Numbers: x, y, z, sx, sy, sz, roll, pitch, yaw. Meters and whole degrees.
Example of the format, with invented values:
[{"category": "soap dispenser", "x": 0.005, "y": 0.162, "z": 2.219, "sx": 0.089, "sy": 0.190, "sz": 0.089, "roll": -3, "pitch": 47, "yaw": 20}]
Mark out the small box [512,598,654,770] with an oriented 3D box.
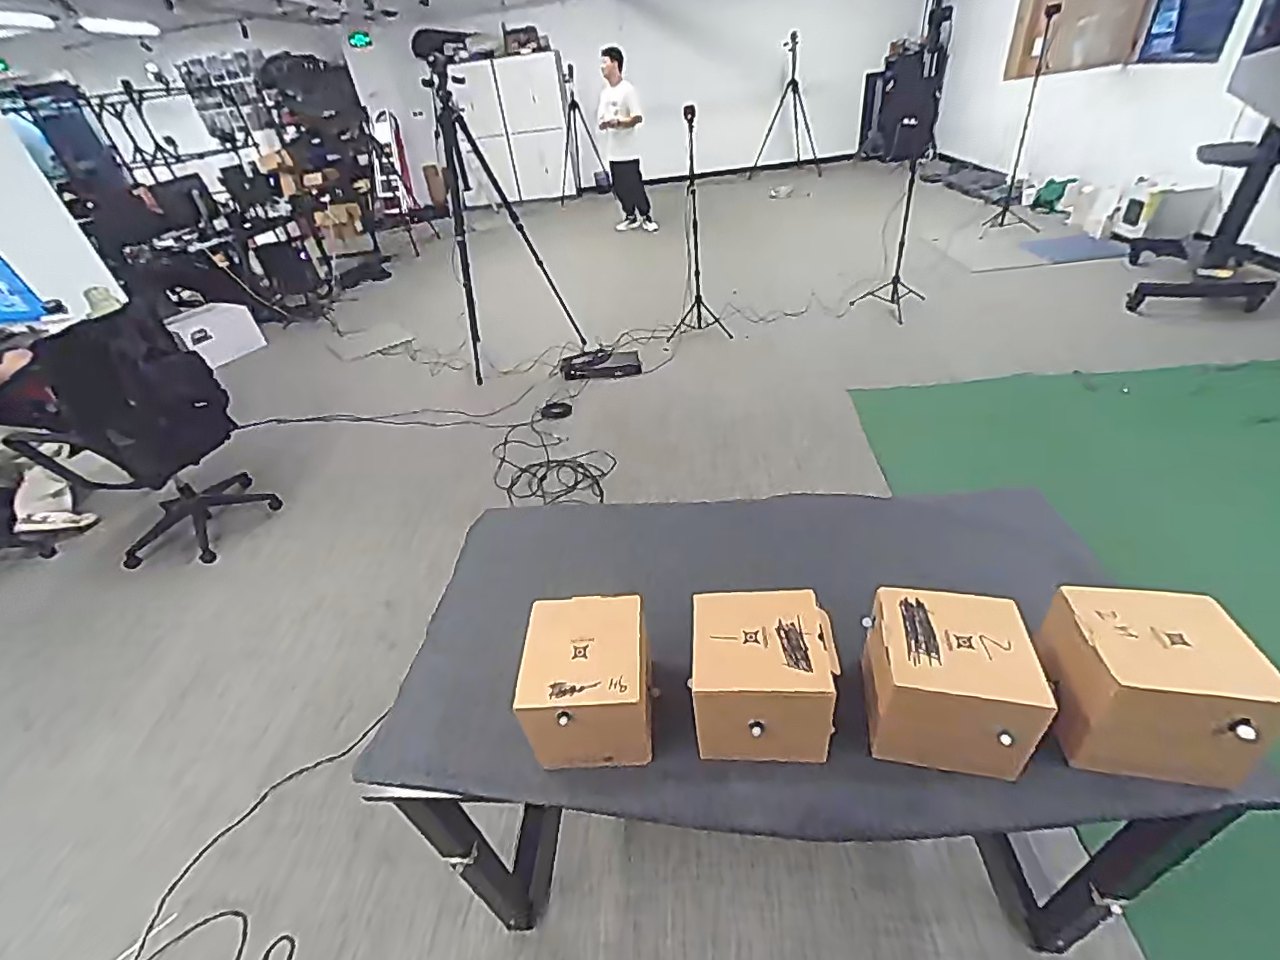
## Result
[{"category": "small box", "x": -0.071, "y": 0.297, "z": 0.795, "sx": 0.168, "sy": 0.176, "sz": 0.179, "roll": -5, "pitch": 37, "yaw": 6}]
